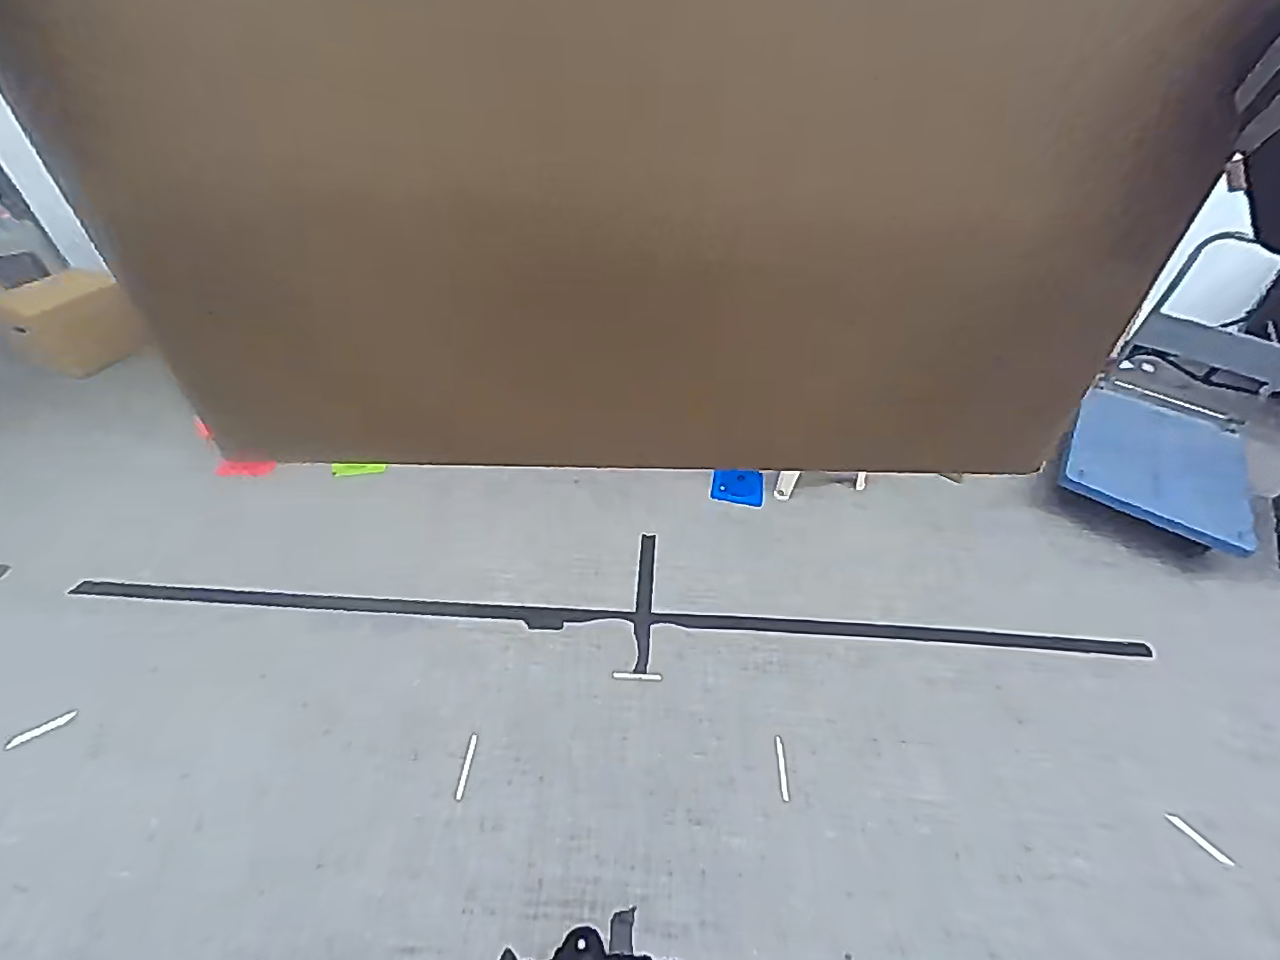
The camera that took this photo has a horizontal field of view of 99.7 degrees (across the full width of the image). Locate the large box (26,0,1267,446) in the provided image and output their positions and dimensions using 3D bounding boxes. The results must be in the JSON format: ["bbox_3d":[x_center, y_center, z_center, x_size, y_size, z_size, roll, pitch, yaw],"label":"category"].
[{"bbox_3d":[0.001,-0.229,0.297,0.408,0.320,0.320,2,40,-1],"label":"large box"}]
